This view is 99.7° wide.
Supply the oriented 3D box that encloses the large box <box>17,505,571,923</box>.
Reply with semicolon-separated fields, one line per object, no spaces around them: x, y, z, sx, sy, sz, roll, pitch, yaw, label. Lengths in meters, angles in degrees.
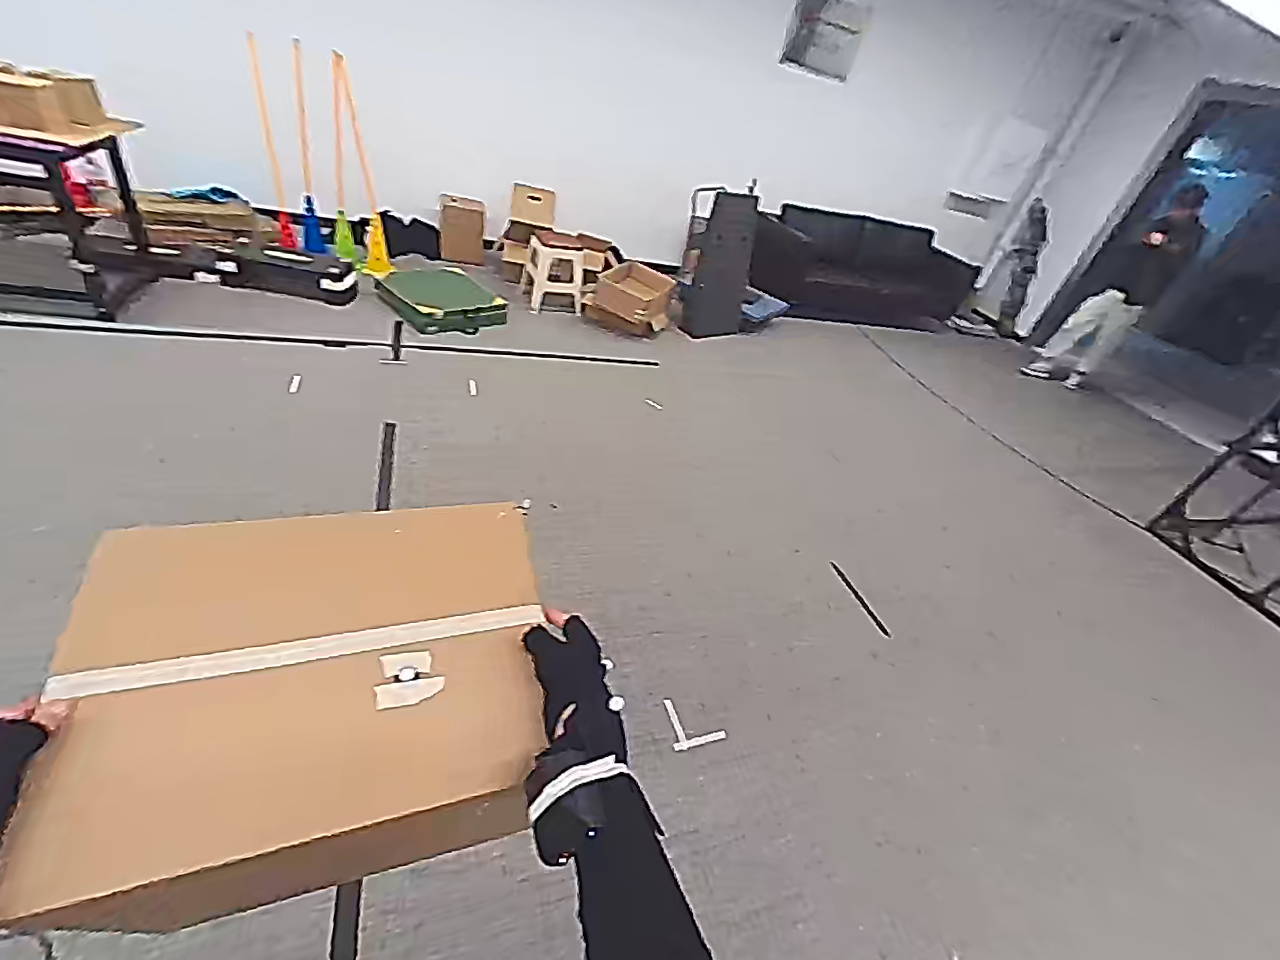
-0.330;0.256;0.637;0.408;0.320;0.320;-3;52;-22;large box
